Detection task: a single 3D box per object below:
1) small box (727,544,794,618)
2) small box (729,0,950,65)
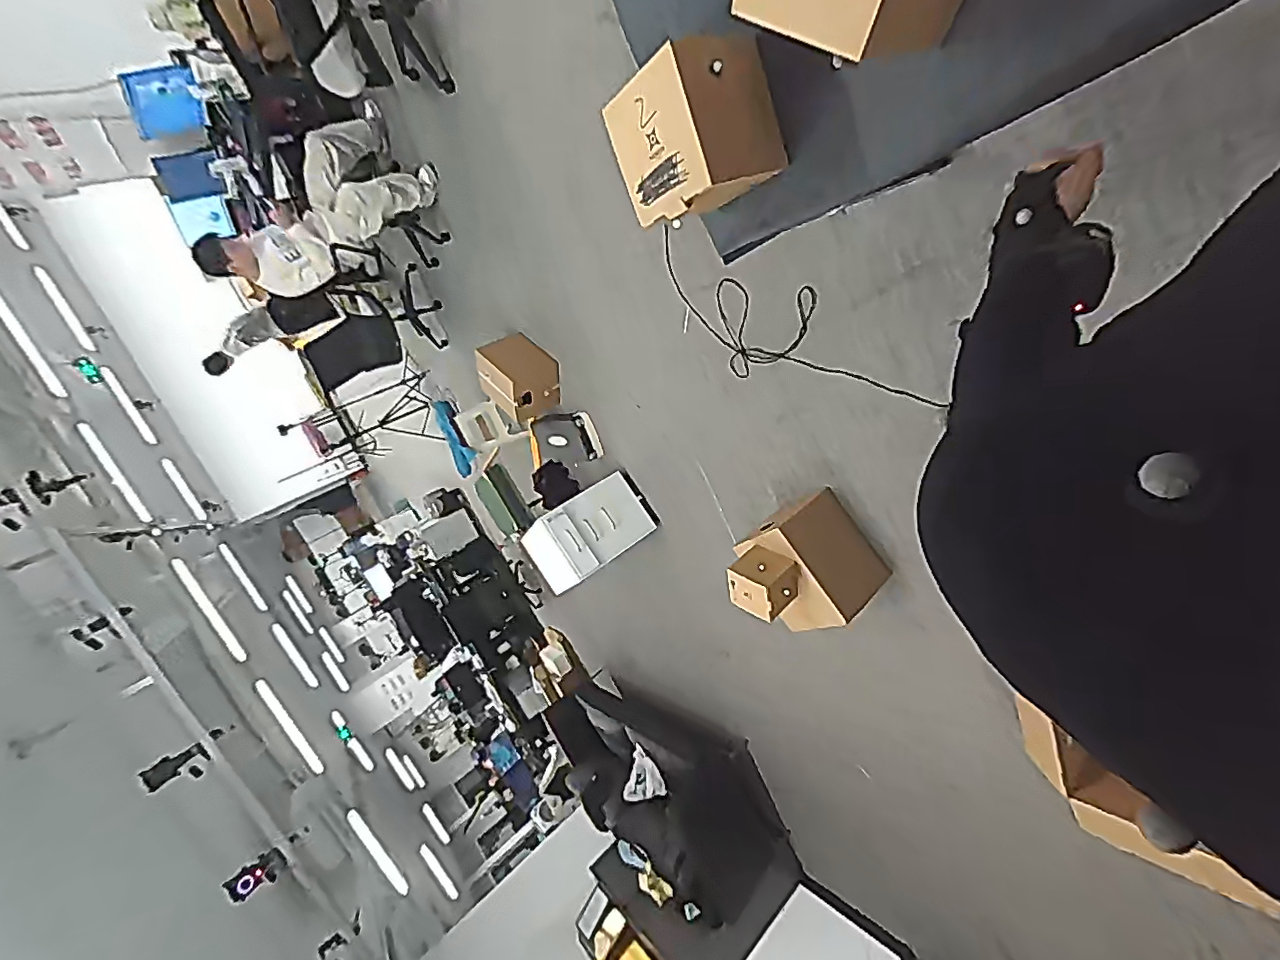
[{"bbox_3d":[0.436,0.353,1.929,0.179,0.176,0.168,21,134,44],"label":"small box"},{"bbox_3d":[0.224,-0.547,0.539,0.179,0.176,0.168,44,147,24],"label":"small box"}]
